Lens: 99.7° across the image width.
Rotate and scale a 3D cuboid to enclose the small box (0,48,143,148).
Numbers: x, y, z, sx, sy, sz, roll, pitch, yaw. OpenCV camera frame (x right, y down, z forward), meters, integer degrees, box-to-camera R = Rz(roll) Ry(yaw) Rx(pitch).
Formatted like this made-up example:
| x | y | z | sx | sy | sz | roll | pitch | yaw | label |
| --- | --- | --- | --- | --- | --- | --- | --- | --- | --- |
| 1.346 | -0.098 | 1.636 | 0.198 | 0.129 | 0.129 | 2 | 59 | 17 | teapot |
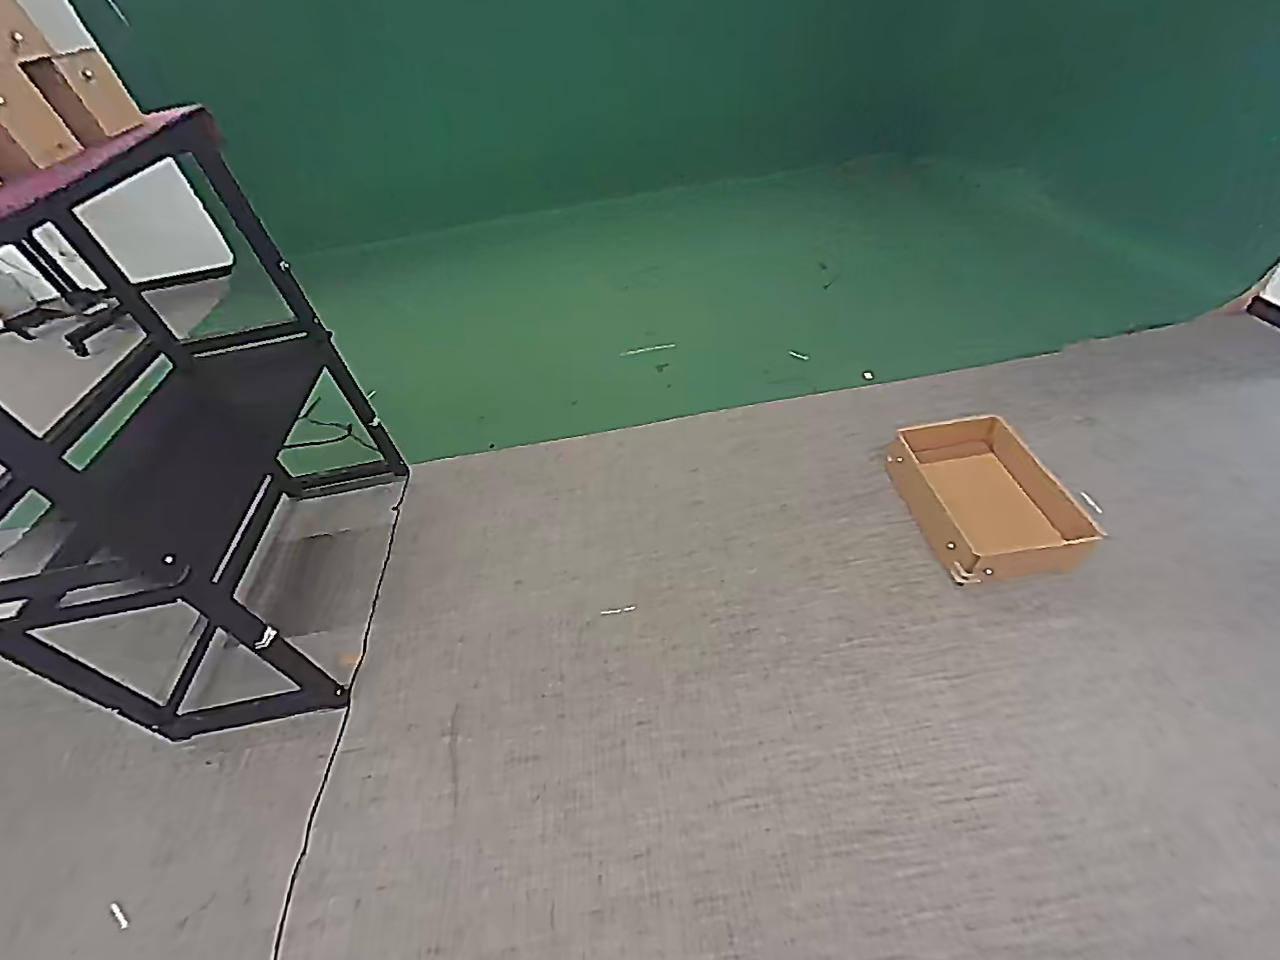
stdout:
| x | y | z | sx | sy | sz | roll | pitch | yaw | label |
| --- | --- | --- | --- | --- | --- | --- | --- | --- | --- |
| -1.426 | -0.956 | 1.361 | 0.168 | 0.176 | 0.179 | -11 | 45 | 1 | small box |
